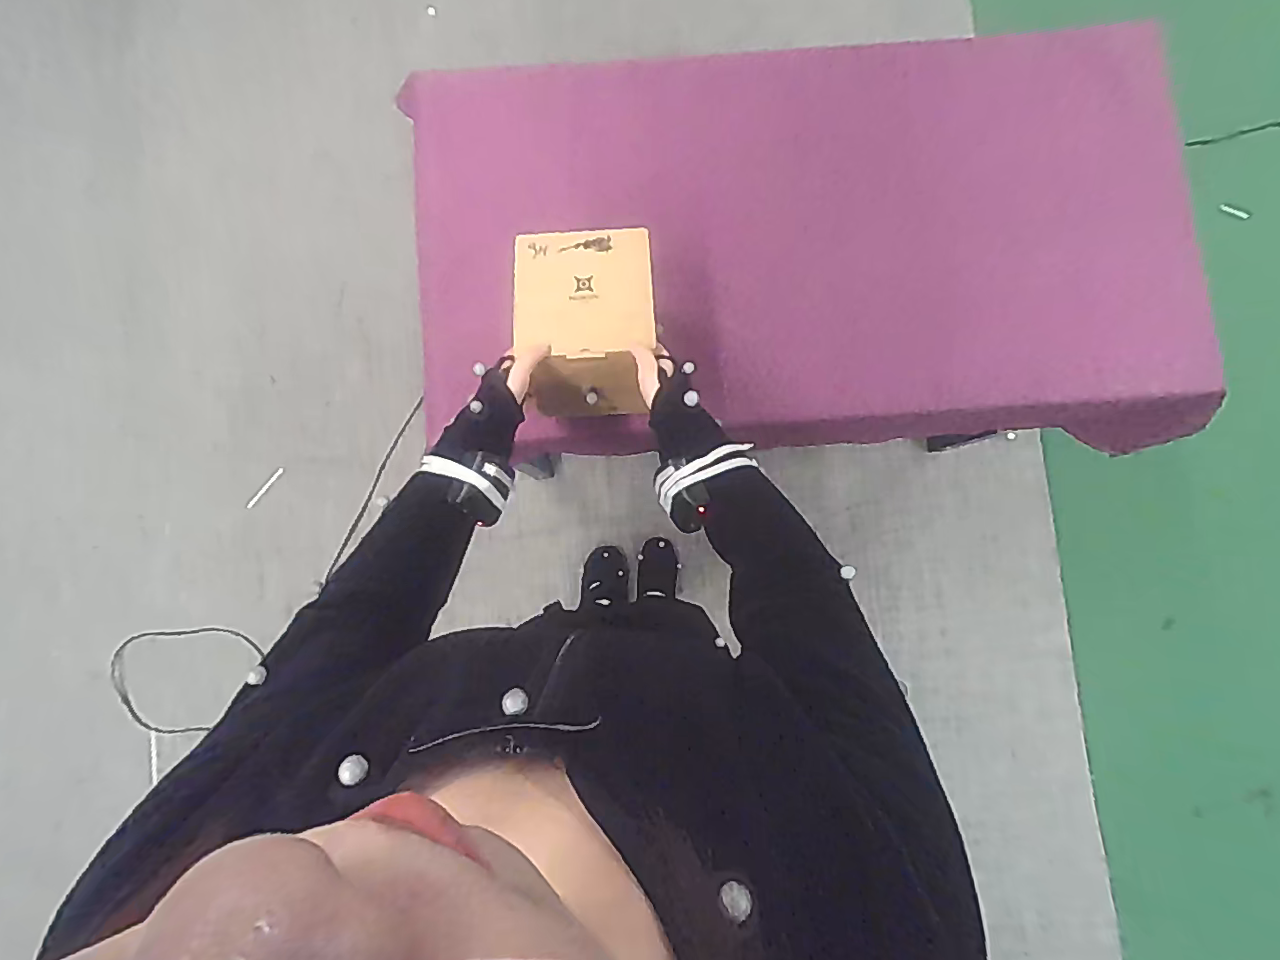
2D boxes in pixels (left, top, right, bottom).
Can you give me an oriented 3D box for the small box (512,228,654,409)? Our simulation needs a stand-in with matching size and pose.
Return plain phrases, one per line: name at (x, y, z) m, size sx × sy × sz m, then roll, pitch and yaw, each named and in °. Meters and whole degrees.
small box at (-0.067, -0.201, 0.720) m, size 0.168 × 0.176 × 0.179 m, roll -3°, pitch 73°, yaw 0°
